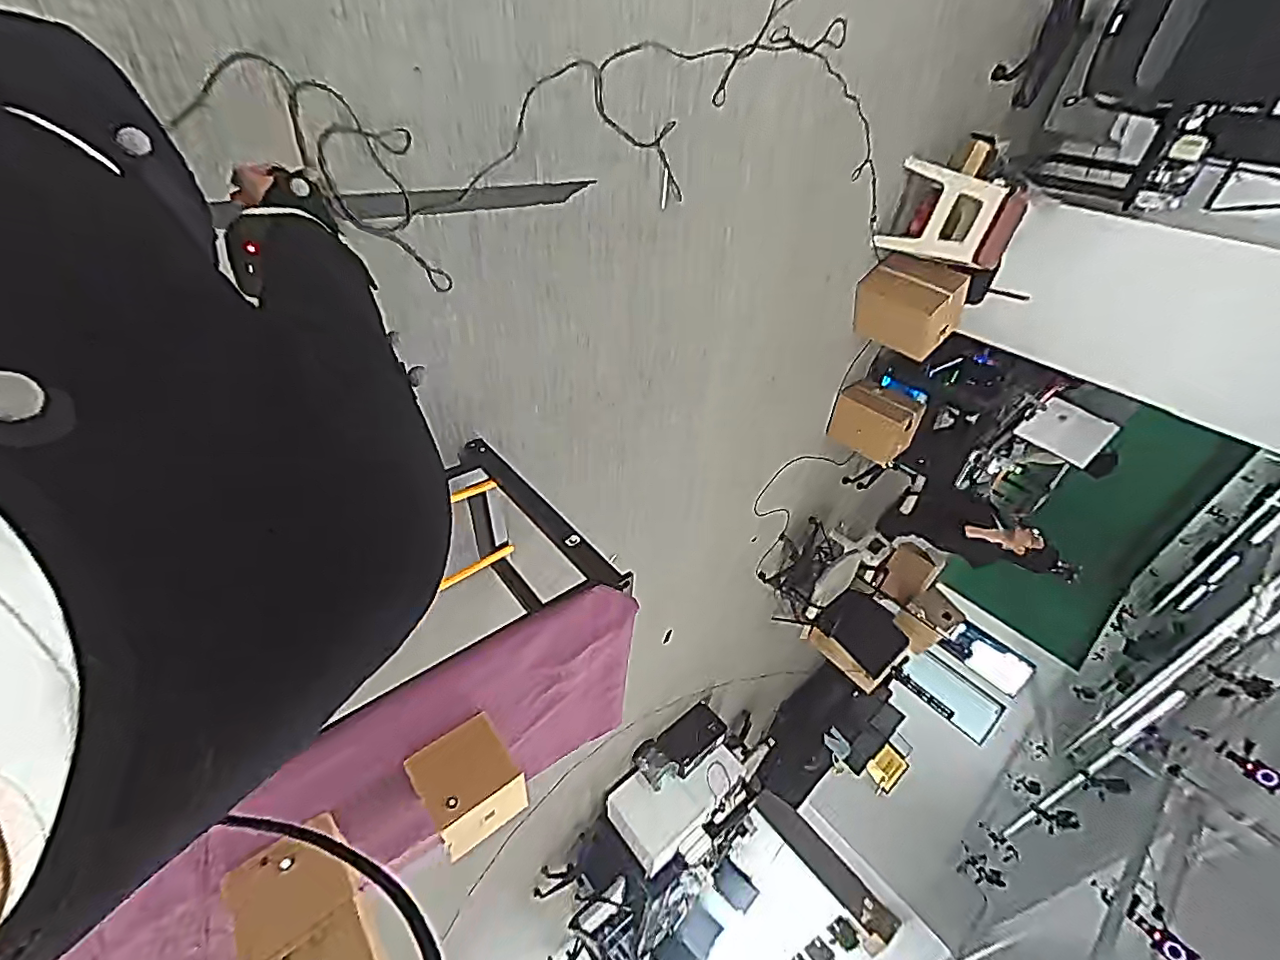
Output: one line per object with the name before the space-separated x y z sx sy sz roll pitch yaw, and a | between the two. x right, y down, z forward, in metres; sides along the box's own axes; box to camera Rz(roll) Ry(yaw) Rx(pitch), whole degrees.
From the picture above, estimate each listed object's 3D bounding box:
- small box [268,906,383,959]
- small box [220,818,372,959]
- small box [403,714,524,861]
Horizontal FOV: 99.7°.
small box | -0.494 0.827 0.852 0.168 0.176 0.179 -25 137 -35
small box | -0.598 0.742 0.948 0.168 0.176 0.179 -24 136 -35
small box | -0.361 0.626 1.119 0.179 0.176 0.168 -25 137 -33
